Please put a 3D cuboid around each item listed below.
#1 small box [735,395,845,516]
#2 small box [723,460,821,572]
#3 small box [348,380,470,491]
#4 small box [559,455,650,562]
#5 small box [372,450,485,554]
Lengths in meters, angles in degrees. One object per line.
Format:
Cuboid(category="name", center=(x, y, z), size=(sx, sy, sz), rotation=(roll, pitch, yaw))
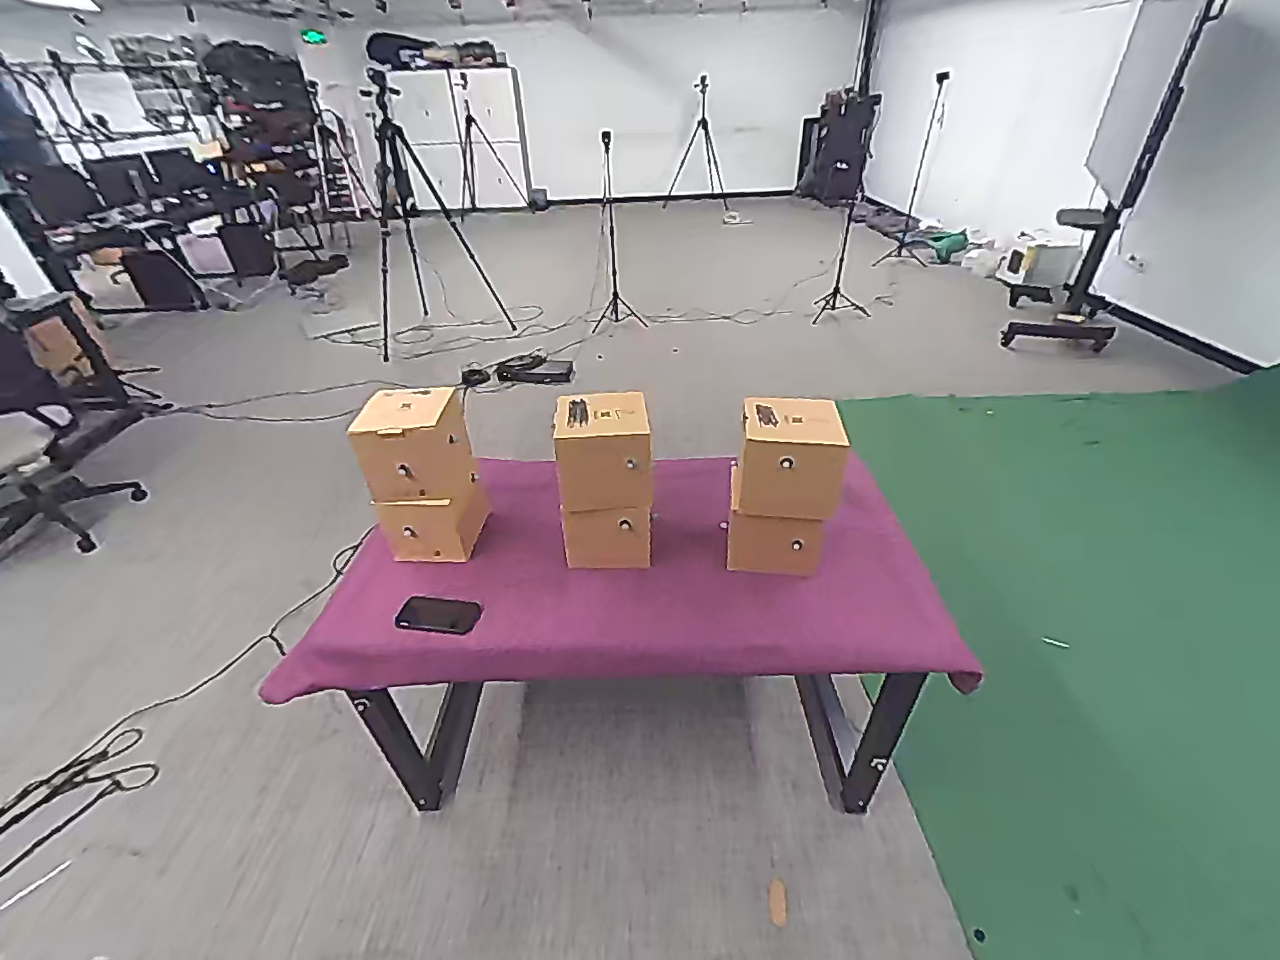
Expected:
Cuboid(category="small box", center=(0.275, -0.047, 1.030), size=(0.179, 0.176, 0.168), rotation=(4, 36, 7))
Cuboid(category="small box", center=(0.271, 0.076, 1.139), size=(0.179, 0.176, 0.168), rotation=(4, 36, 9))
Cuboid(category="small box", center=(-0.461, -0.089, 1.114), size=(0.168, 0.176, 0.179), rotation=(-2, 37, -1))
Cuboid(category="small box", center=(-0.068, 0.063, 1.167), size=(0.179, 0.176, 0.168), rotation=(0, 36, 3))
Cuboid(category="small box", center=(-0.457, 0.048, 1.204), size=(0.168, 0.176, 0.179), rotation=(1, 36, 3))
